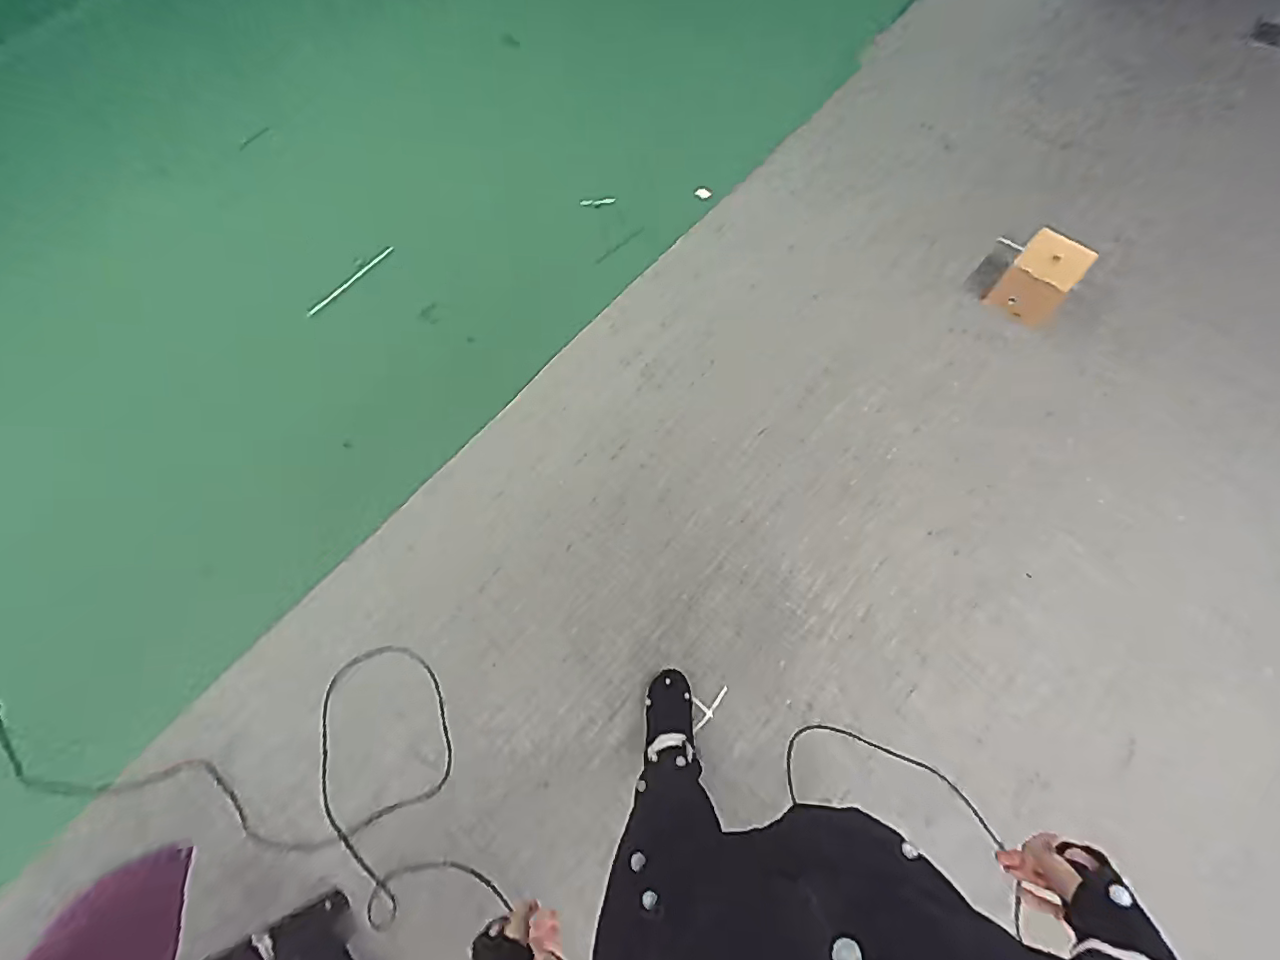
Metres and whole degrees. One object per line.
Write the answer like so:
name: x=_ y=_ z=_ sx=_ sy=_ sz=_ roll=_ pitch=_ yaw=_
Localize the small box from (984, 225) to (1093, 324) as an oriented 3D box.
small box: x=1.166 y=-0.602 z=1.599 sx=0.168 sy=0.176 sz=0.179 roll=39 pitch=77 yaw=17
